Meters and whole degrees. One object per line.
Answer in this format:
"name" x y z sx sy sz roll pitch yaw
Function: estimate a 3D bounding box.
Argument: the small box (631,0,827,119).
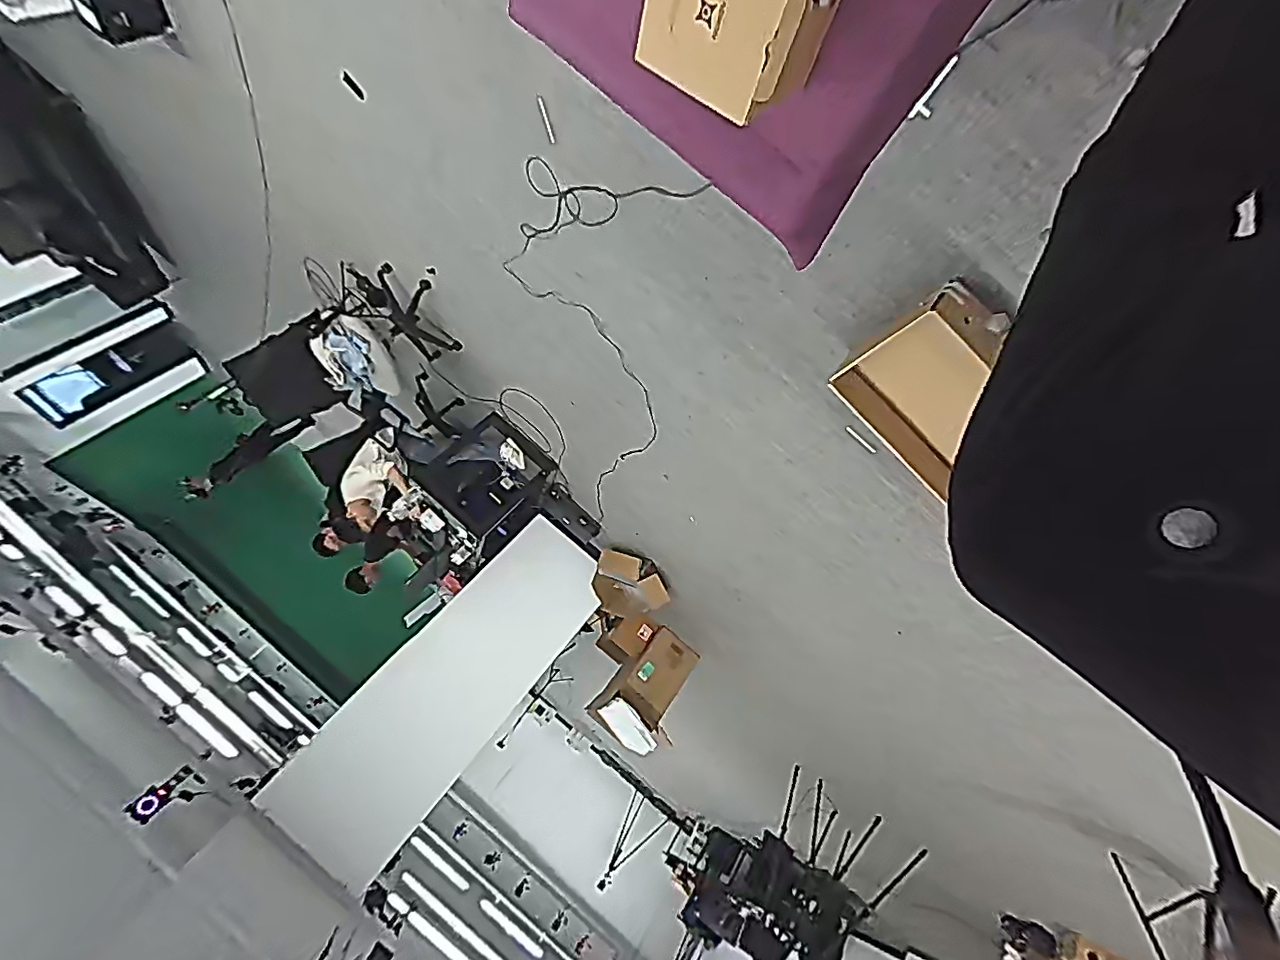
"small box" 0.119 -0.582 0.644 0.179 0.176 0.168 38 149 8
